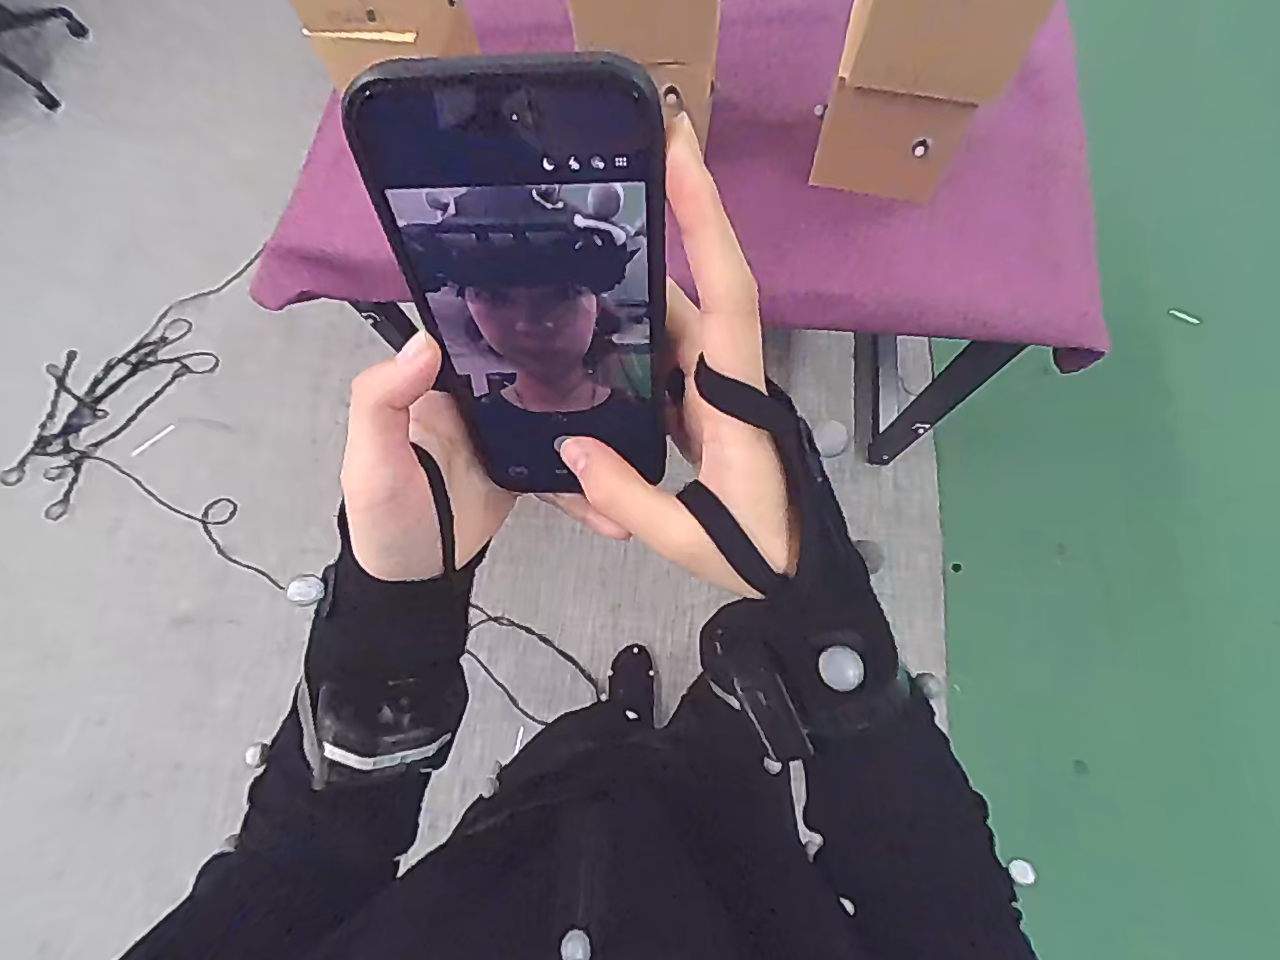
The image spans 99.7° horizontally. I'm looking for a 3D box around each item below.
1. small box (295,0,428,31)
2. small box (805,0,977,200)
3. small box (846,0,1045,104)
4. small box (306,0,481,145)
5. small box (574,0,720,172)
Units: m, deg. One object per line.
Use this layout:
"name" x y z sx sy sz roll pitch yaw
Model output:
"small box" -0.374 -0.714 0.685 0.168 0.176 0.179 4 74 4
"small box" 0.349 -0.526 0.756 0.179 0.176 0.168 14 74 8
"small box" 0.345 -0.557 0.595 0.179 0.176 0.168 14 74 7
"small box" -0.365 -0.659 0.840 0.168 0.176 0.179 9 74 6
"small box" 0.016 -0.586 0.793 0.179 0.176 0.168 8 74 6
